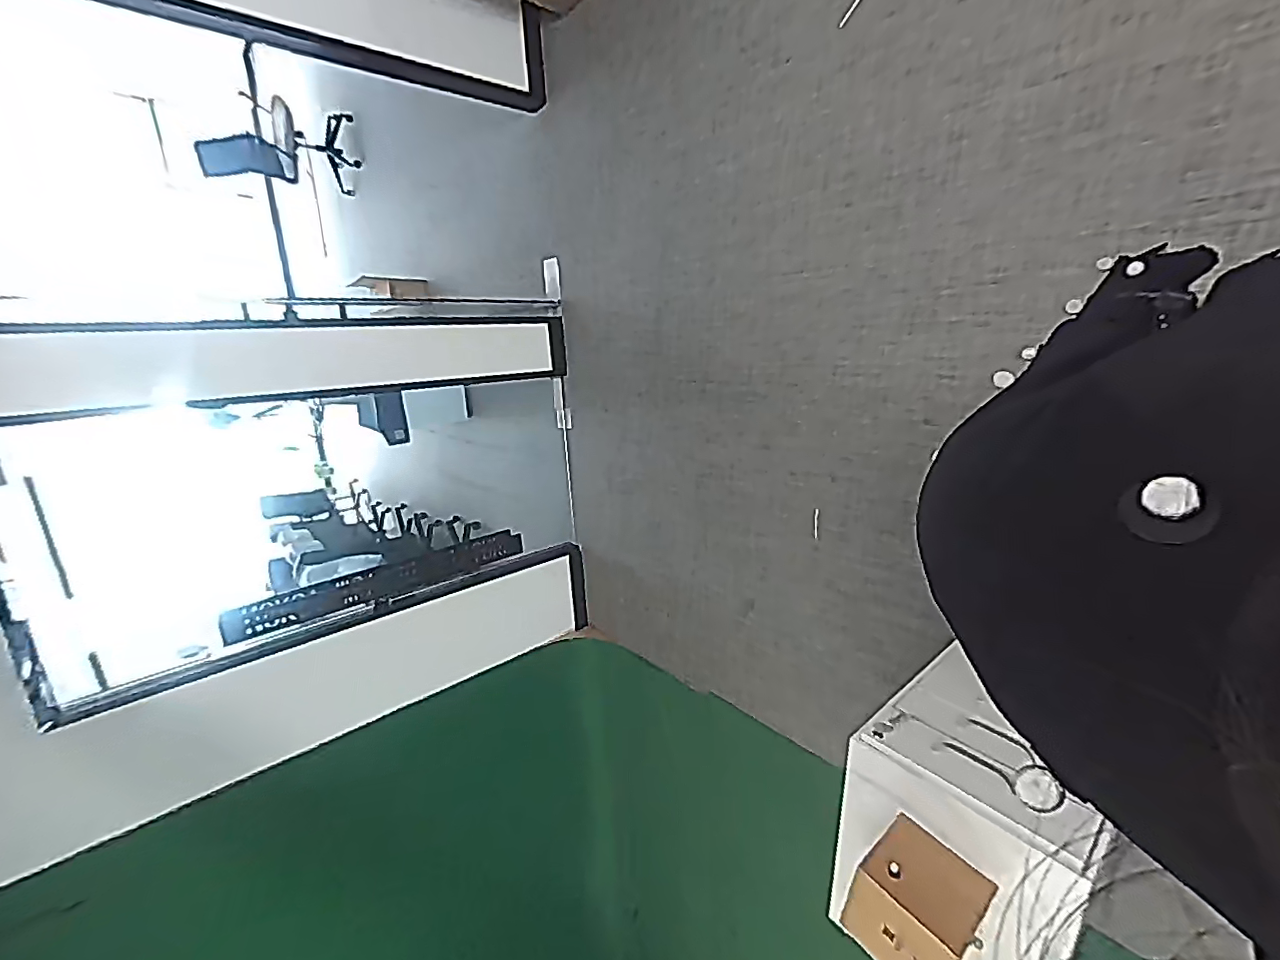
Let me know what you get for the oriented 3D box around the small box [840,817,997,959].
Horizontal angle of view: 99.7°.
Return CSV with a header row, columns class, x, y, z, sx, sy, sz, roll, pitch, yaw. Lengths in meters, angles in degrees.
class,x,y,z,sx,sy,sz,roll,pitch,yaw
small box,0.496,0.749,0.969,0.179,0.176,0.168,27,122,44
